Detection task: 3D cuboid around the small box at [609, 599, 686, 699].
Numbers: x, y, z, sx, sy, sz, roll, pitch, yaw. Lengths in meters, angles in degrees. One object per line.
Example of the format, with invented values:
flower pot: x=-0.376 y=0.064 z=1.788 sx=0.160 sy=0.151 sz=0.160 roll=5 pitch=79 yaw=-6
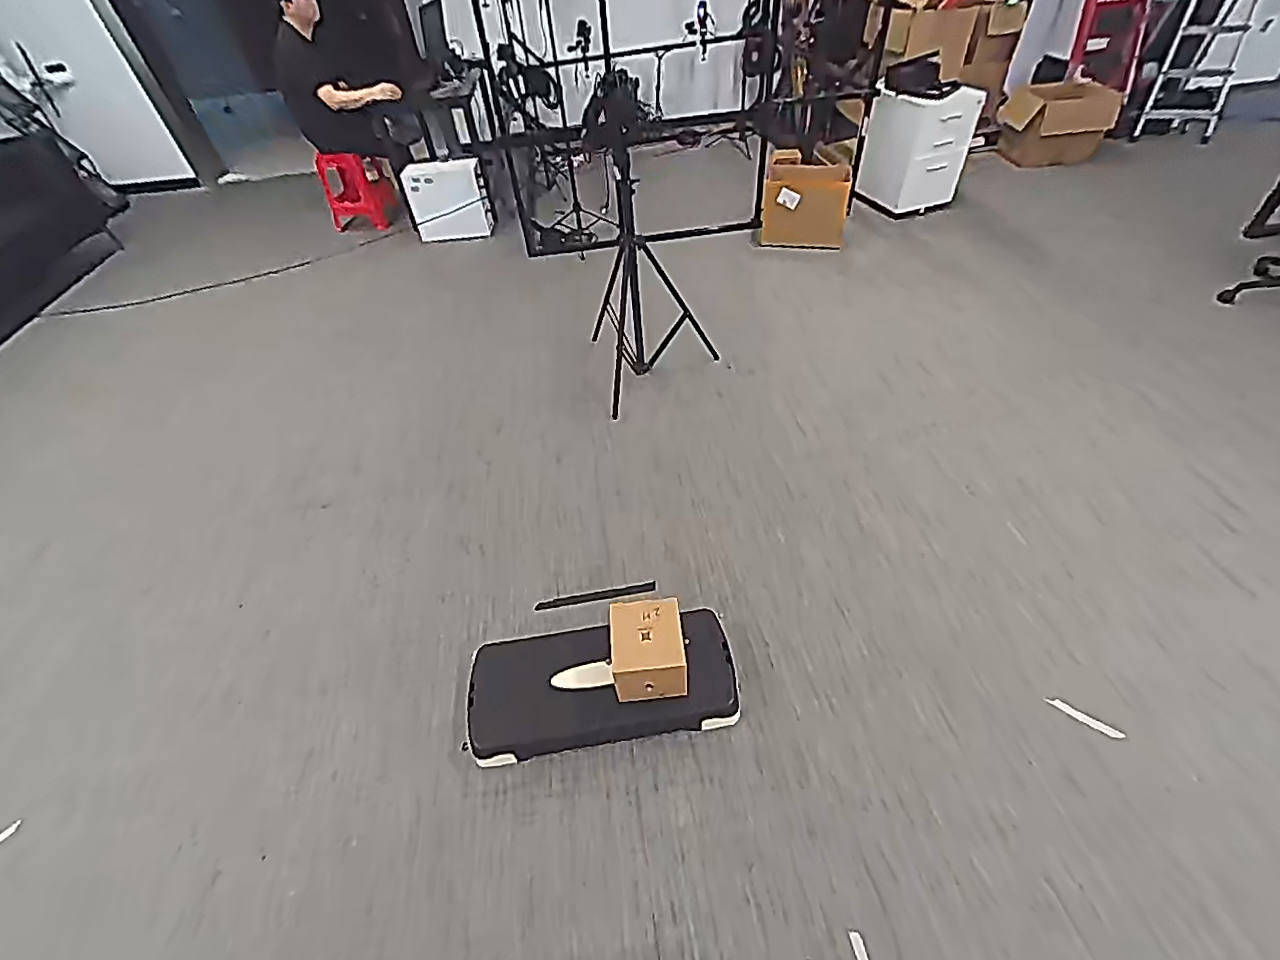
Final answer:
small box: x=0.019 y=0.410 z=1.293 sx=0.168 sy=0.176 sz=0.179 roll=-6 pitch=46 yaw=0
